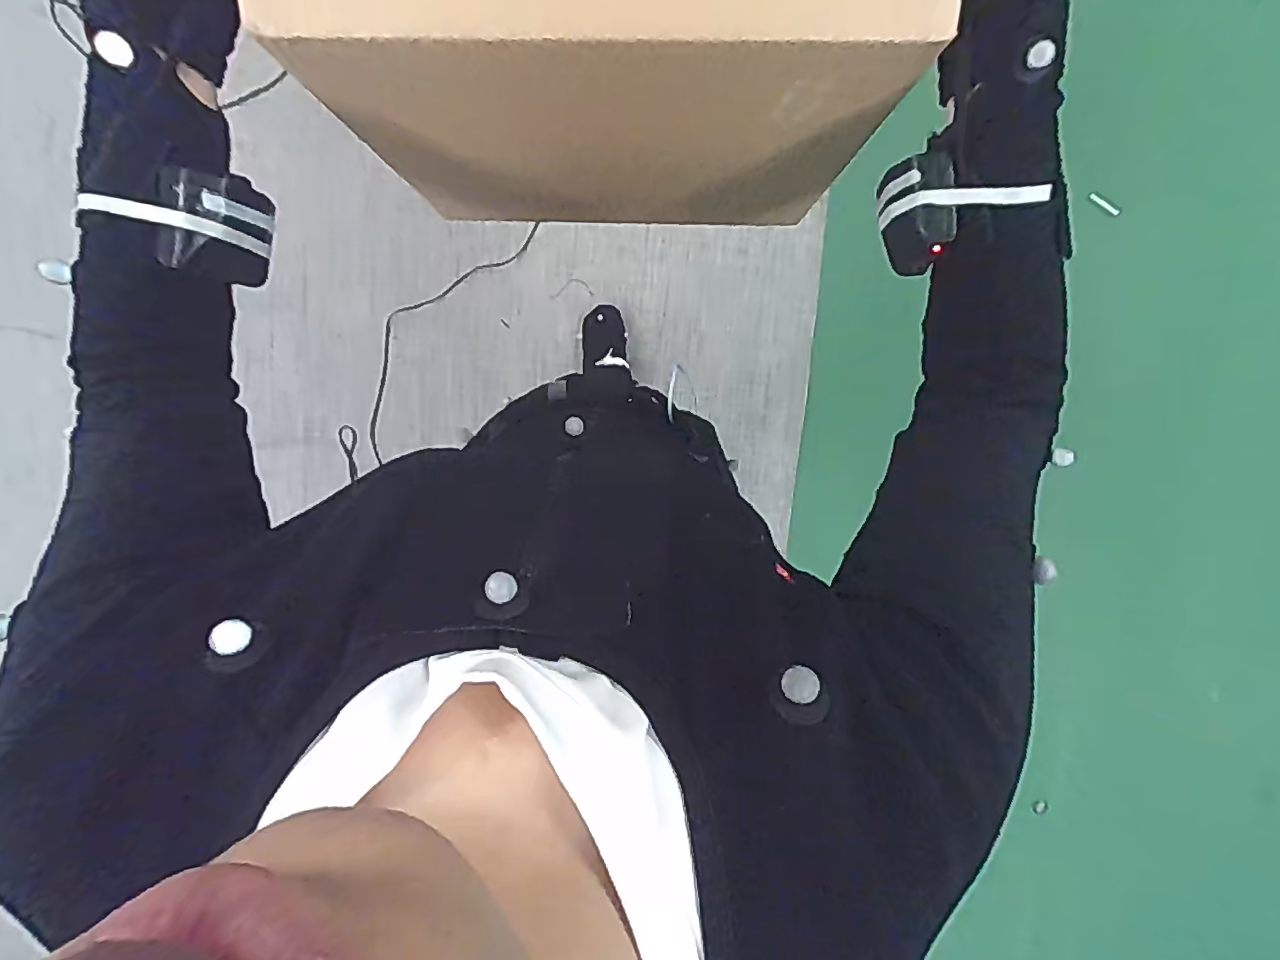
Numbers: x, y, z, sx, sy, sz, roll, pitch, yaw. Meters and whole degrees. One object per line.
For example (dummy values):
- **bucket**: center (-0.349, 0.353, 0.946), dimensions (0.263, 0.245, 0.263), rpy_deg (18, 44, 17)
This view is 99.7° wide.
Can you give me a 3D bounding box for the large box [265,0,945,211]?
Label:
- **large box**: center (-0.023, -0.436, 0.442), dimensions (0.408, 0.320, 0.320), rpy_deg (0, 99, -1)
